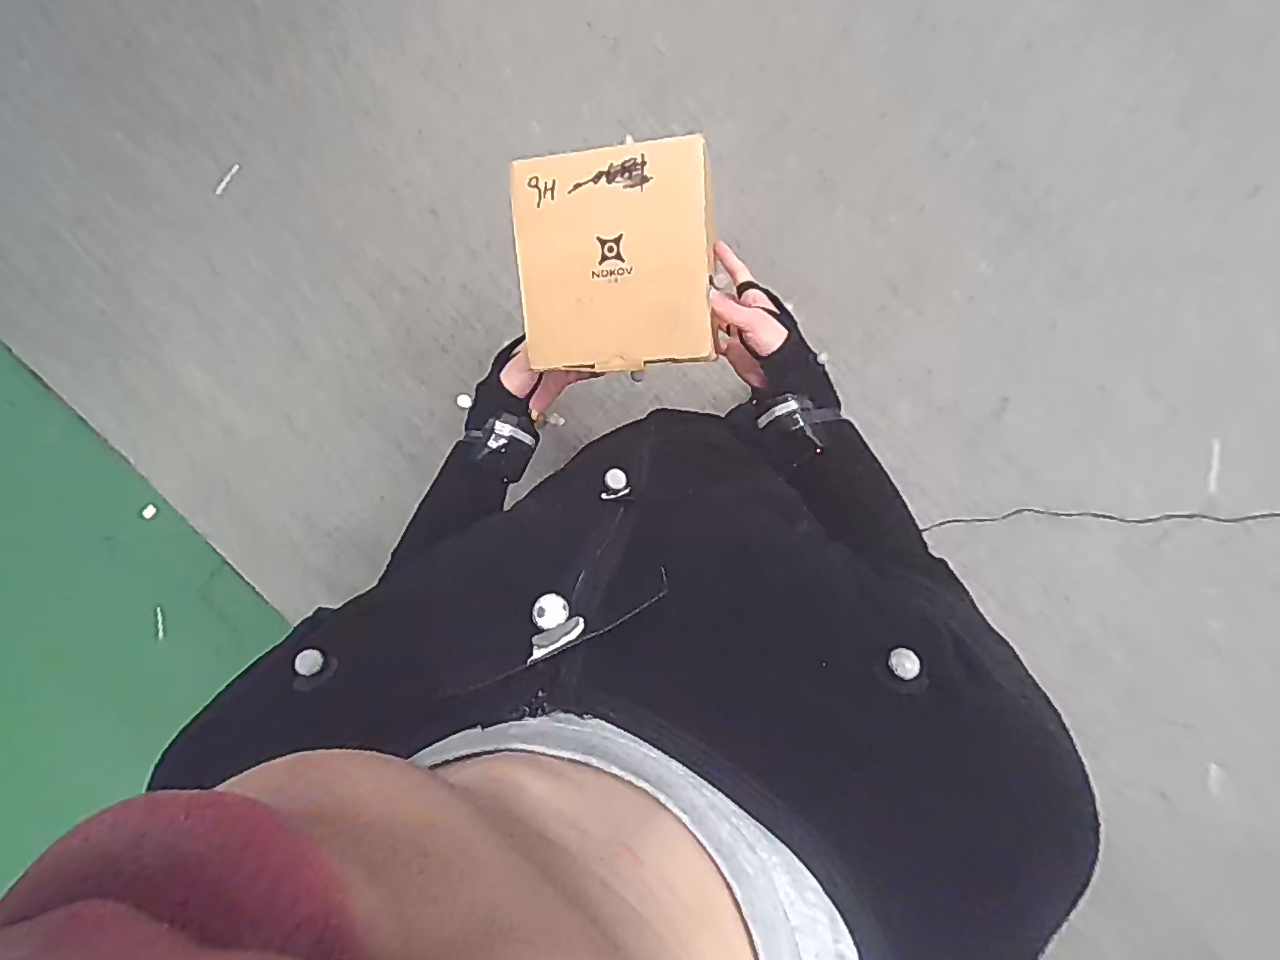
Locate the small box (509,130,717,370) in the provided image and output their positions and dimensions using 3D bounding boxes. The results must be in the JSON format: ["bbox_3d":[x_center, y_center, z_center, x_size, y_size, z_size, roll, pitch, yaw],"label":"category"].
[{"bbox_3d":[-0.011,-0.205,0.529,0.168,0.176,0.179,-2,103,9],"label":"small box"}]
